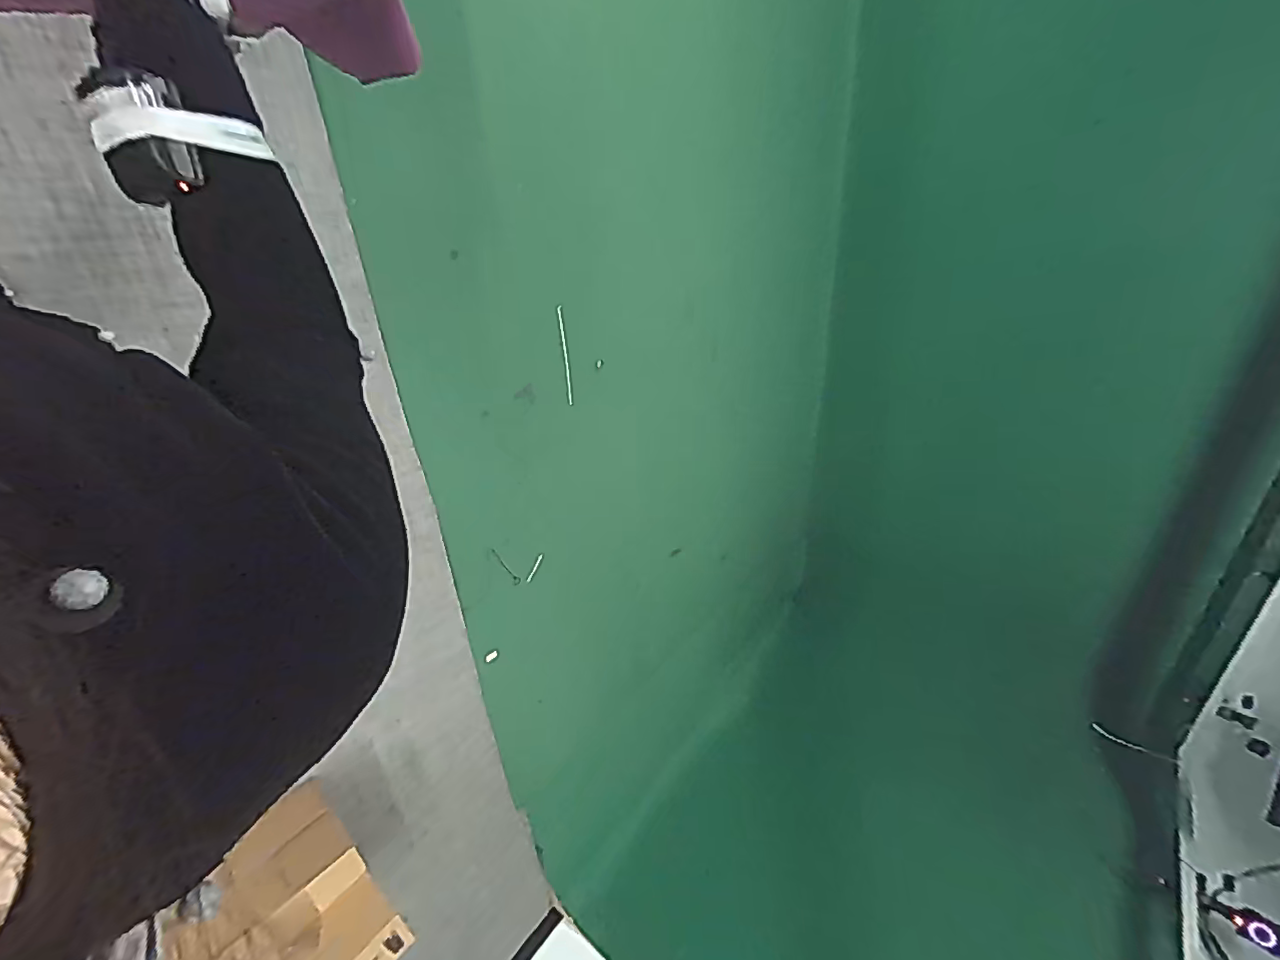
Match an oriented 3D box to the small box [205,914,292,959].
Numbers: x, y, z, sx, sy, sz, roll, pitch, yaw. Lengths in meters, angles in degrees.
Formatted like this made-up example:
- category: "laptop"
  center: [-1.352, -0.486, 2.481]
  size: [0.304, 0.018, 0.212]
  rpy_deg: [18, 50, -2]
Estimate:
- category: "small box"
  center: [-0.916, 1.182, 1.255]
  size: [0.179, 0.176, 0.168]
  rpy_deg: [-30, 128, -41]
